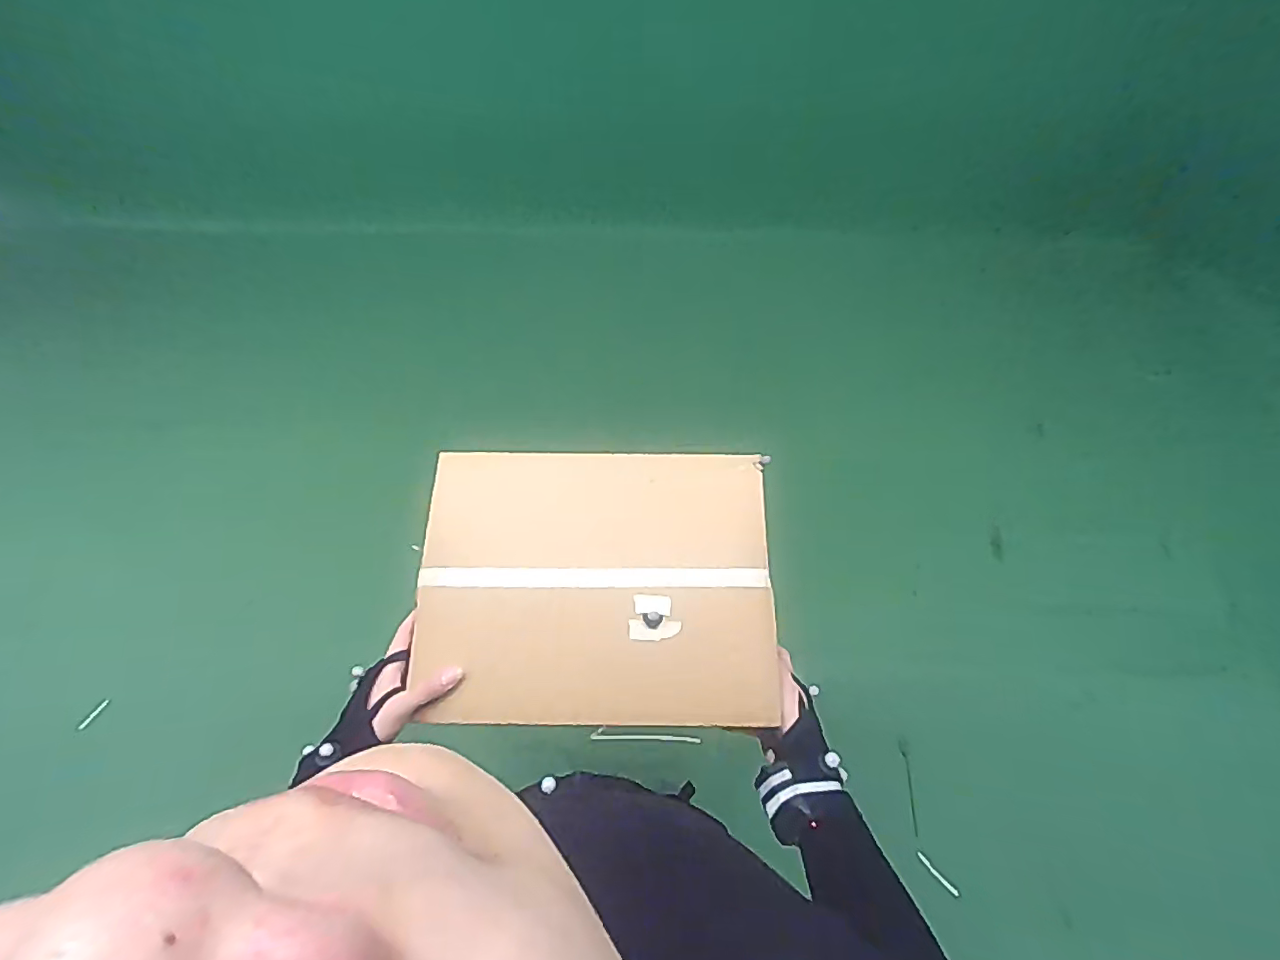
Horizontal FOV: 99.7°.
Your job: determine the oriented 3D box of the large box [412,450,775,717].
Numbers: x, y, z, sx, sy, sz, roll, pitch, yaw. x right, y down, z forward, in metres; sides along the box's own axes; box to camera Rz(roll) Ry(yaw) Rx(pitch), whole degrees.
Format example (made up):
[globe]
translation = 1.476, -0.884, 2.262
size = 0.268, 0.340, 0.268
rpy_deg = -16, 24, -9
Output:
[large box]
translation = -0.055, 0.158, 0.775
size = 0.408, 0.320, 0.320
rpy_deg = 1, 71, -1
